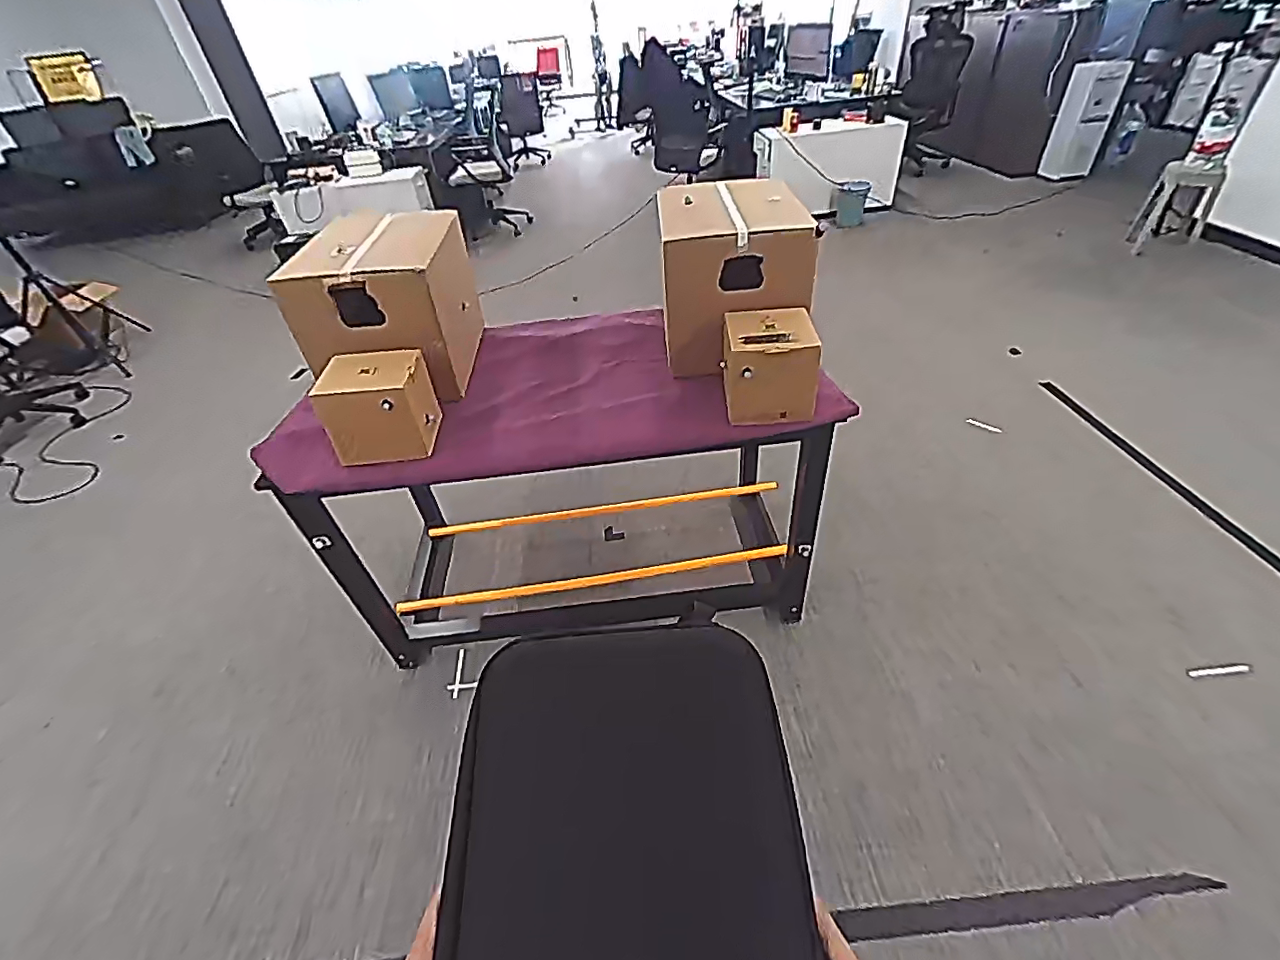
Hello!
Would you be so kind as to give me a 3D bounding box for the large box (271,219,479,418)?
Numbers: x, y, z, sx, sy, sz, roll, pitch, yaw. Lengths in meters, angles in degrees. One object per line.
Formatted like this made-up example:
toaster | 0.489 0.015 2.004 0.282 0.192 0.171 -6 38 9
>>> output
large box | -0.596 -0.402 1.317 0.320 0.320 0.408 -6 43 -2
